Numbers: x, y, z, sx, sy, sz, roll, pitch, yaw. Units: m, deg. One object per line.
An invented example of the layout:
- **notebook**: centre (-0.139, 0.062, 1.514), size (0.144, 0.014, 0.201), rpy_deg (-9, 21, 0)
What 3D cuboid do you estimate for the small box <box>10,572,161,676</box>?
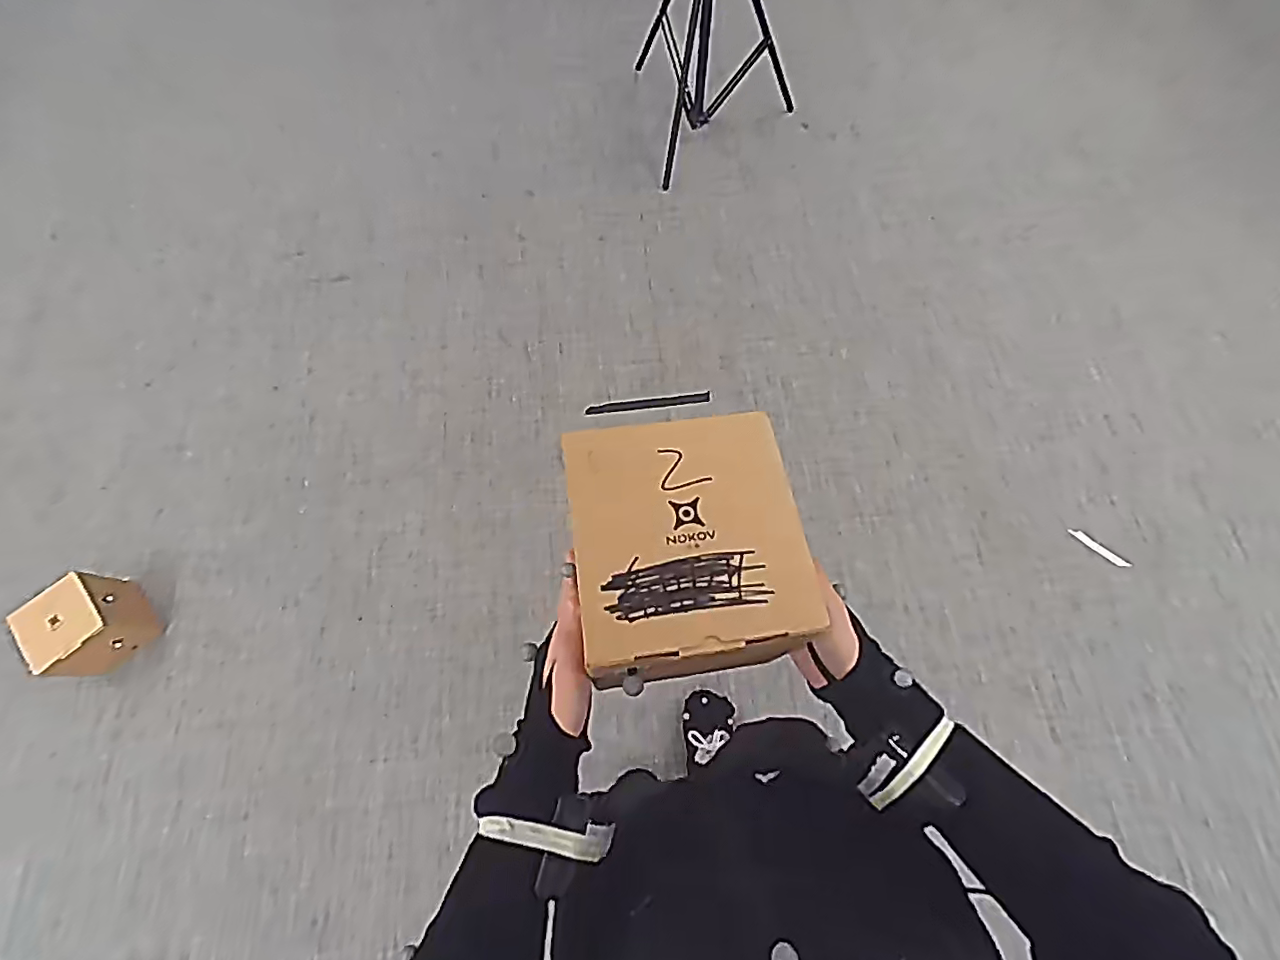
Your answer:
- **small box**: centre (-1.334, 0.352, 1.316), size (0.168, 0.176, 0.179), rpy_deg (-41, 74, -13)
